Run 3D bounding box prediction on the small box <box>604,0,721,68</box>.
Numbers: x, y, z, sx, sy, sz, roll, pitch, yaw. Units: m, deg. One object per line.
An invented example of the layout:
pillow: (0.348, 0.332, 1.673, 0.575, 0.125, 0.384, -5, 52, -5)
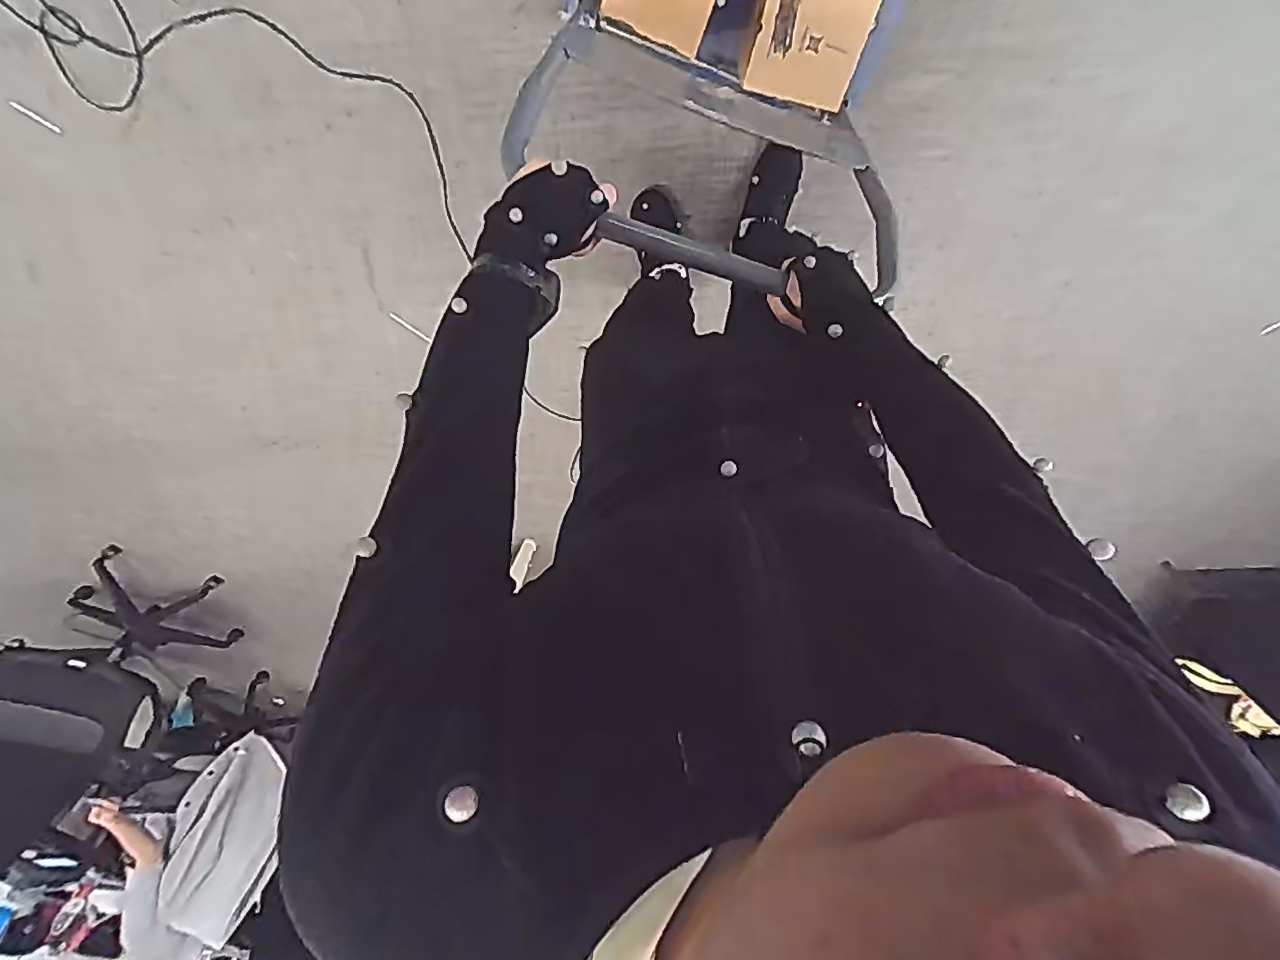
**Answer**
small box: (0.052, -0.819, 0.871, 0.168, 0.176, 0.179, 17, 138, -13)
